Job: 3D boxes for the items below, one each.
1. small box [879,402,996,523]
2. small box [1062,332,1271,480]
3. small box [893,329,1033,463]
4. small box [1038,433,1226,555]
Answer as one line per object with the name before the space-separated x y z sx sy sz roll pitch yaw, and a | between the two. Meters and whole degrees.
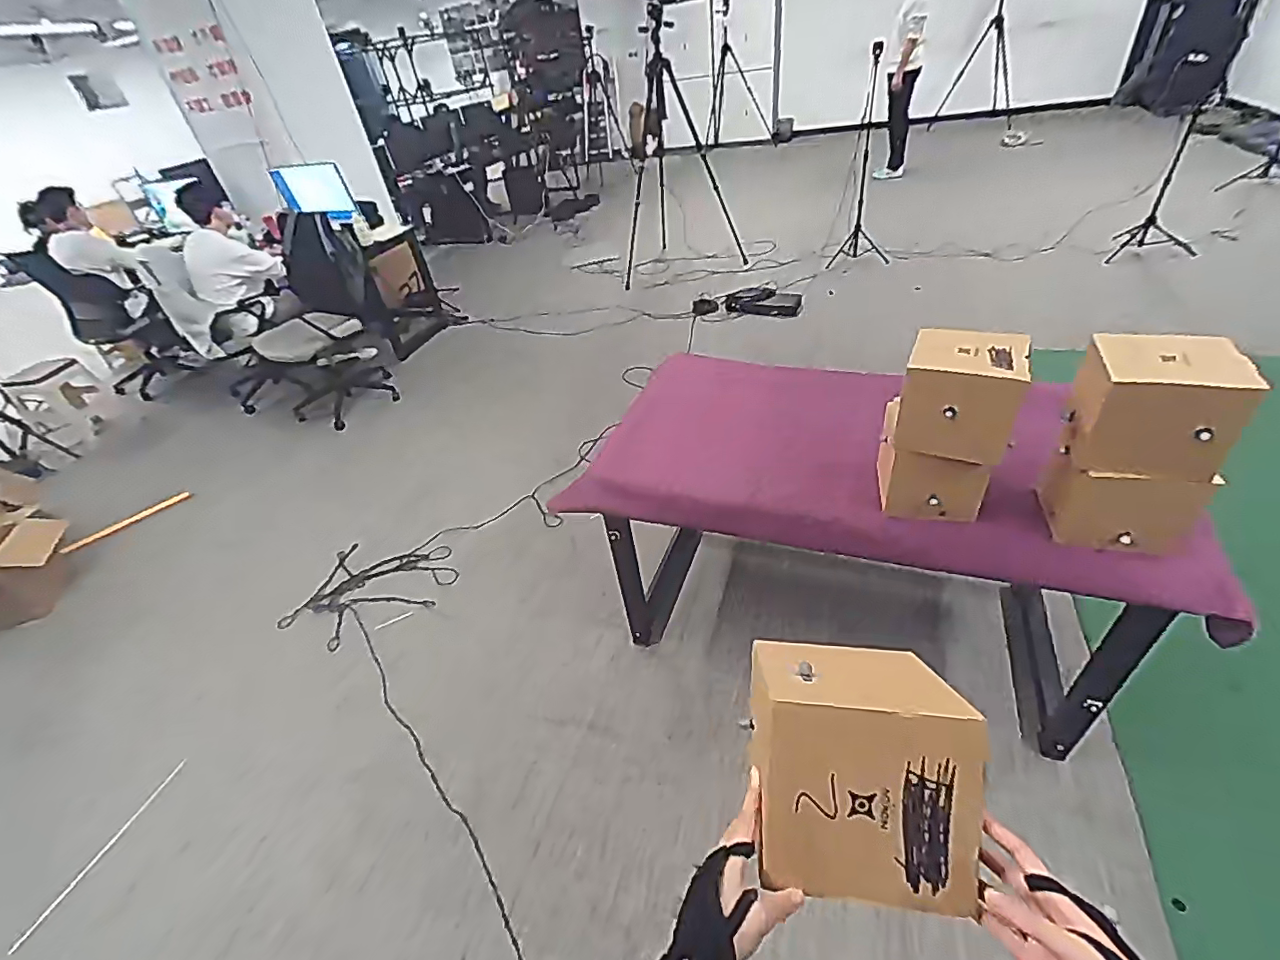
small box | 0.581 -0.038 1.079 0.168 0.176 0.179 3 40 17
small box | 0.815 -0.118 0.862 0.179 0.176 0.168 9 42 24
small box | 0.565 -0.149 0.955 0.179 0.176 0.168 13 43 28
small box | 0.846 0.014 0.954 0.179 0.176 0.168 5 41 19
